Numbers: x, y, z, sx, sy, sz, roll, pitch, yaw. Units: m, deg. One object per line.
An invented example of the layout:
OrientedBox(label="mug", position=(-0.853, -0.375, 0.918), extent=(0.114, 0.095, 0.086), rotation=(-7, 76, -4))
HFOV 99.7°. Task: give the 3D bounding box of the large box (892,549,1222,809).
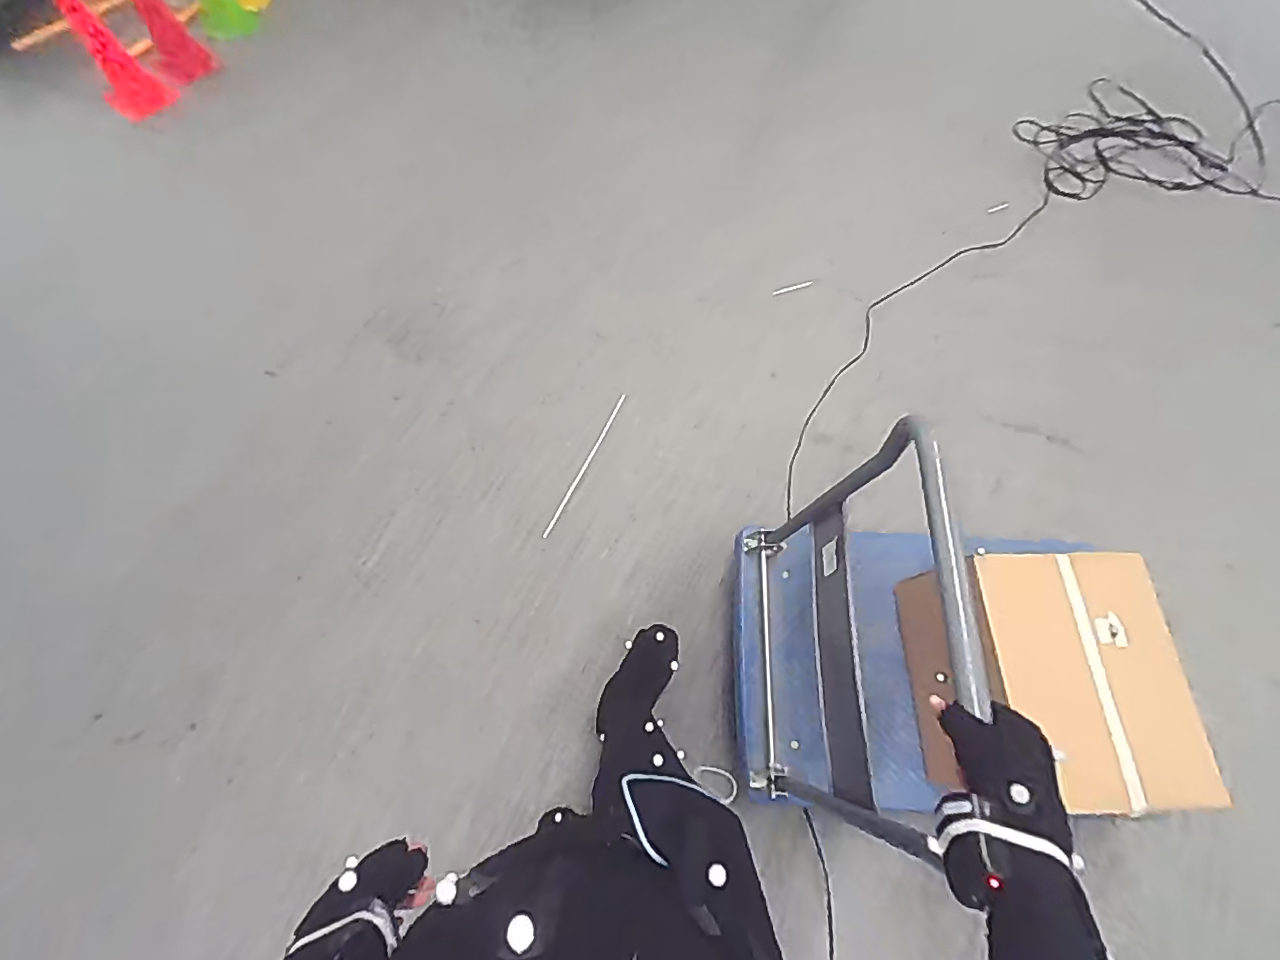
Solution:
OrientedBox(label="large box", position=(0.732, 0.368, 1.032), extent=(0.320, 0.320, 0.408), rotation=(0, 68, -3))
